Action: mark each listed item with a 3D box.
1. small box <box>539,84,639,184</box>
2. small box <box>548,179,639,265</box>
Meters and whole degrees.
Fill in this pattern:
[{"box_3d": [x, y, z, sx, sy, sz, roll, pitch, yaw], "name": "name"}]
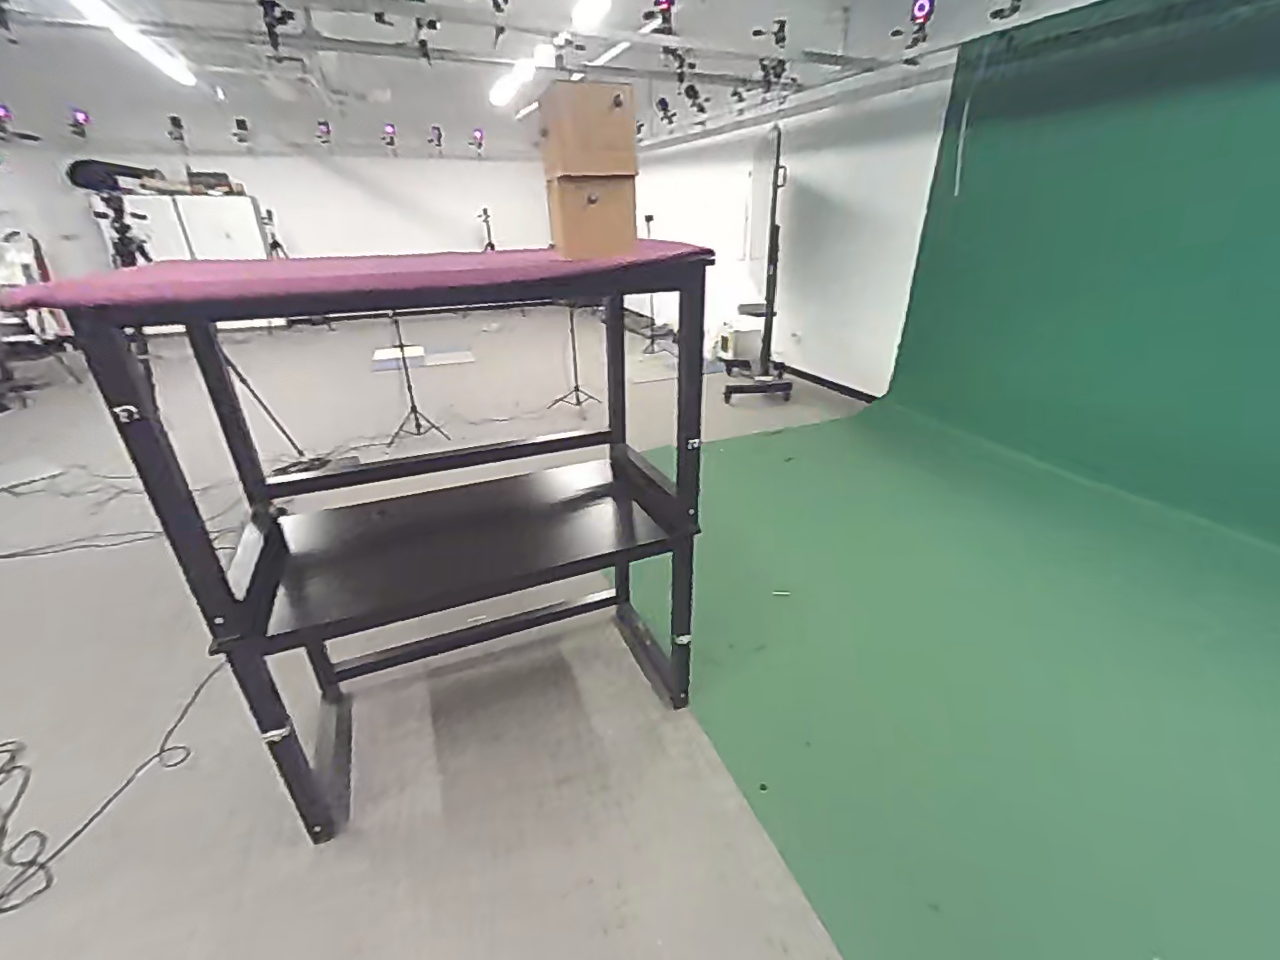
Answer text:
[{"box_3d": [-0.110, -0.737, 1.176, 0.179, 0.176, 0.168, -11, 26, -19], "name": "small box"}, {"box_3d": [-0.108, -0.596, 1.258, 0.179, 0.176, 0.168, -9, 26, -15], "name": "small box"}]
